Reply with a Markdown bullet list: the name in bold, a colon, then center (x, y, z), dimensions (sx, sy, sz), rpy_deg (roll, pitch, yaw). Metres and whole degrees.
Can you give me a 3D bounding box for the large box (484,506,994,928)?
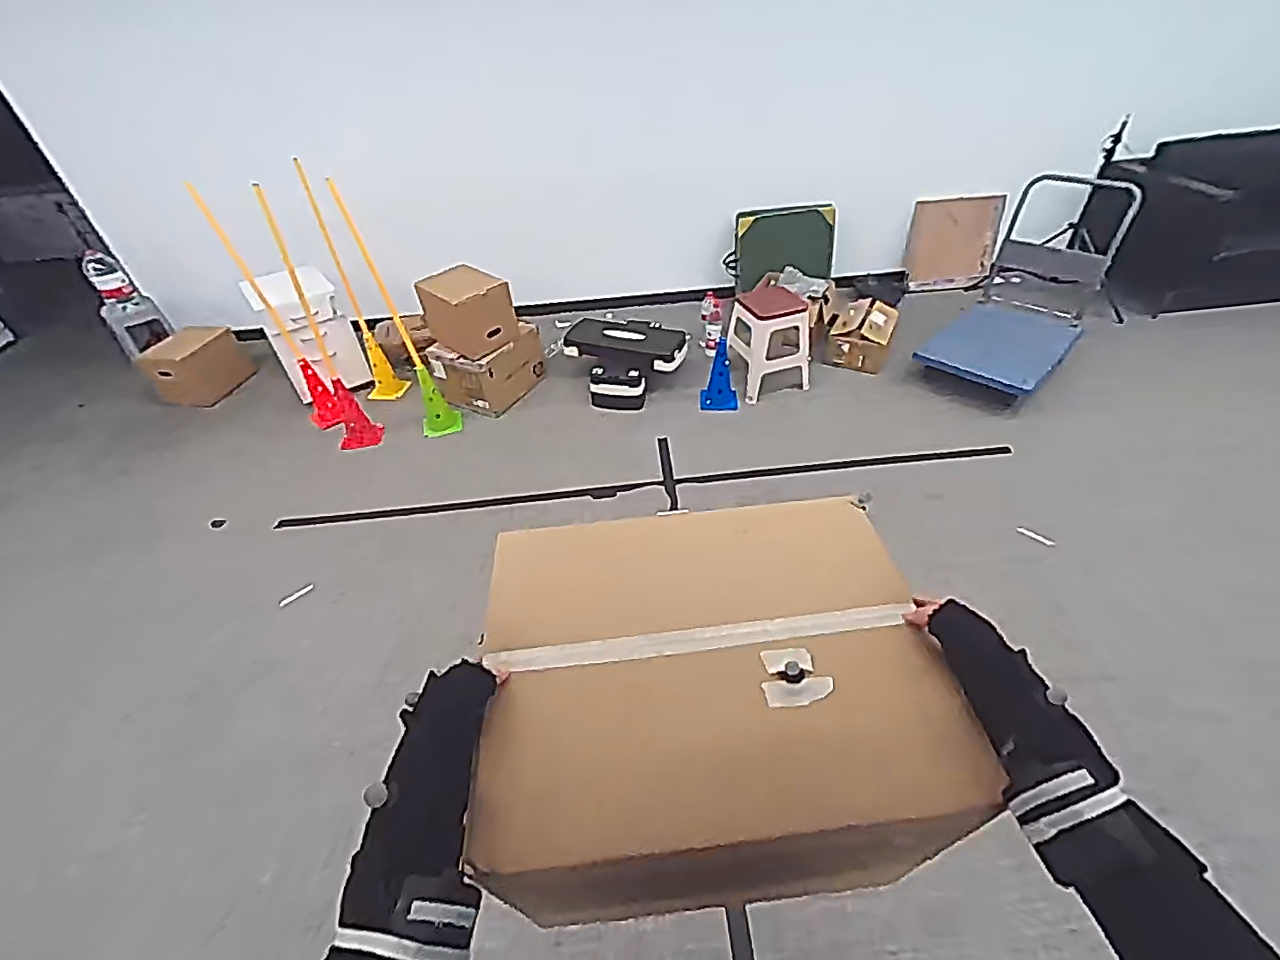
- **large box**: center (0.068, 0.263, 0.614), dimensions (0.408, 0.320, 0.320), rpy_deg (-6, 45, -3)
